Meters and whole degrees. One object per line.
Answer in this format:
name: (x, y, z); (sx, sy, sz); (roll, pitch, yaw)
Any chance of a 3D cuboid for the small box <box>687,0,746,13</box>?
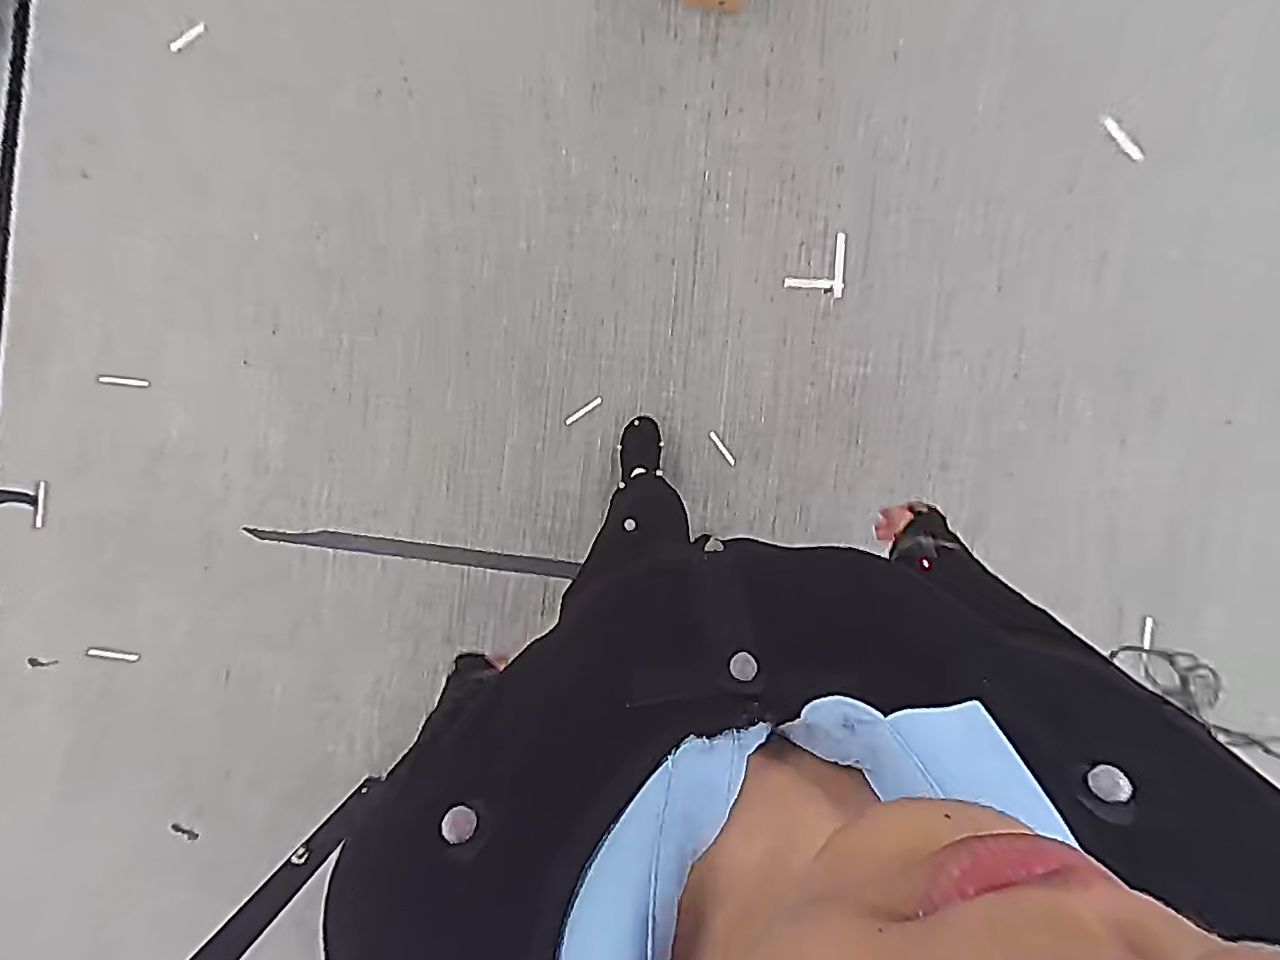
small box: (0.209, -1.363, 1.397); (0.168, 0.176, 0.179); (8, 90, 3)
